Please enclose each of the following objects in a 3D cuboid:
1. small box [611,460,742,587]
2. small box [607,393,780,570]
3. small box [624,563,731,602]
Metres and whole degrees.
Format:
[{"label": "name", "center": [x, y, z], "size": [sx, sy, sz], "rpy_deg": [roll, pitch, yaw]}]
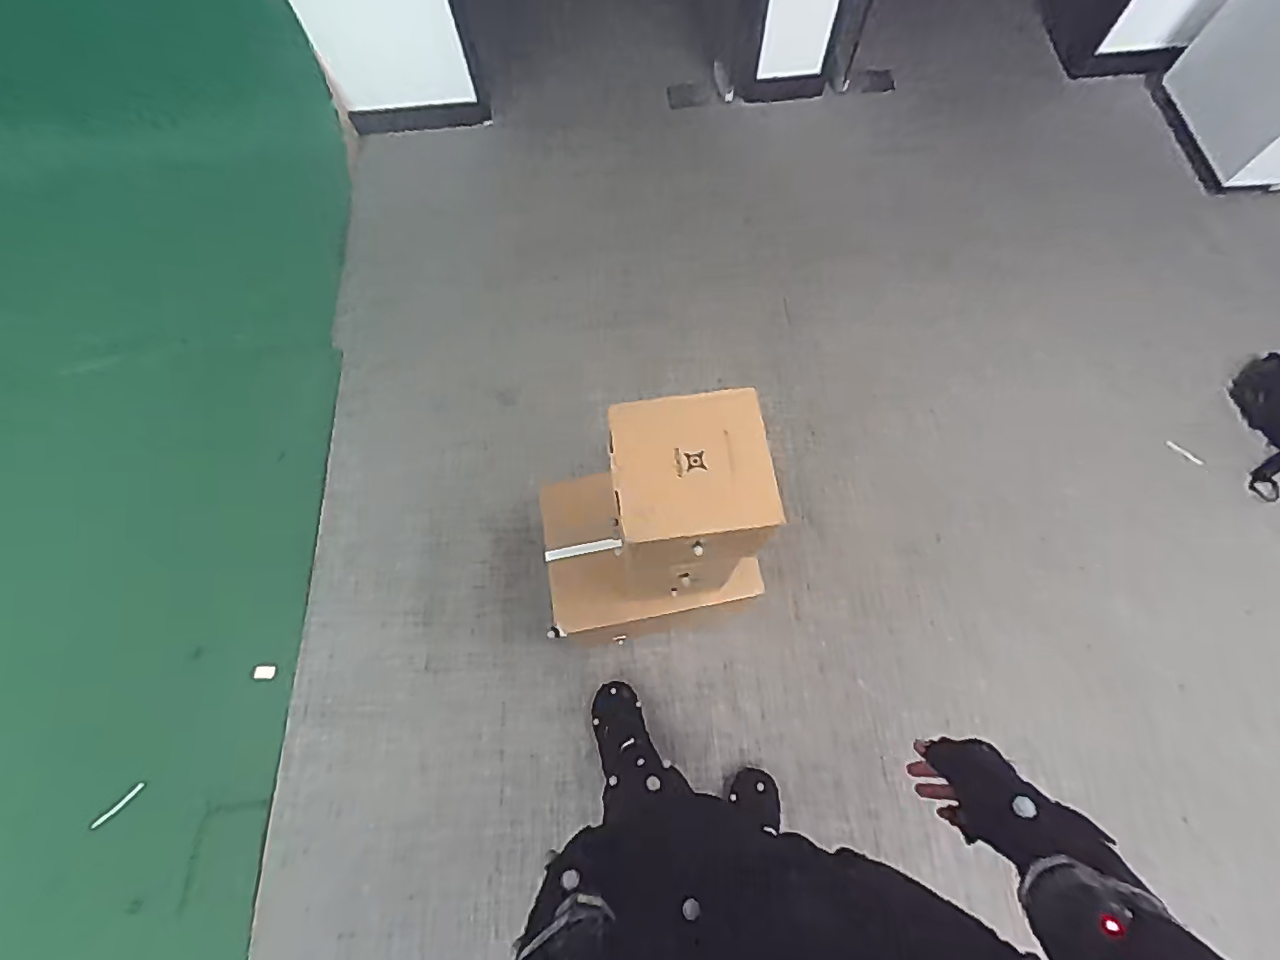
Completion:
[{"label": "small box", "center": [0.052, 0.063, 0.837], "size": [0.168, 0.176, 0.179], "rpy_deg": [-9, 69, -2]}, {"label": "small box", "center": [0.058, 0.011, 0.683], "size": [0.179, 0.176, 0.168], "rpy_deg": [-7, 70, -3]}, {"label": "small box", "center": [0.058, 0.122, 0.989], "size": [0.179, 0.176, 0.168], "rpy_deg": [-7, 69, 0]}]
